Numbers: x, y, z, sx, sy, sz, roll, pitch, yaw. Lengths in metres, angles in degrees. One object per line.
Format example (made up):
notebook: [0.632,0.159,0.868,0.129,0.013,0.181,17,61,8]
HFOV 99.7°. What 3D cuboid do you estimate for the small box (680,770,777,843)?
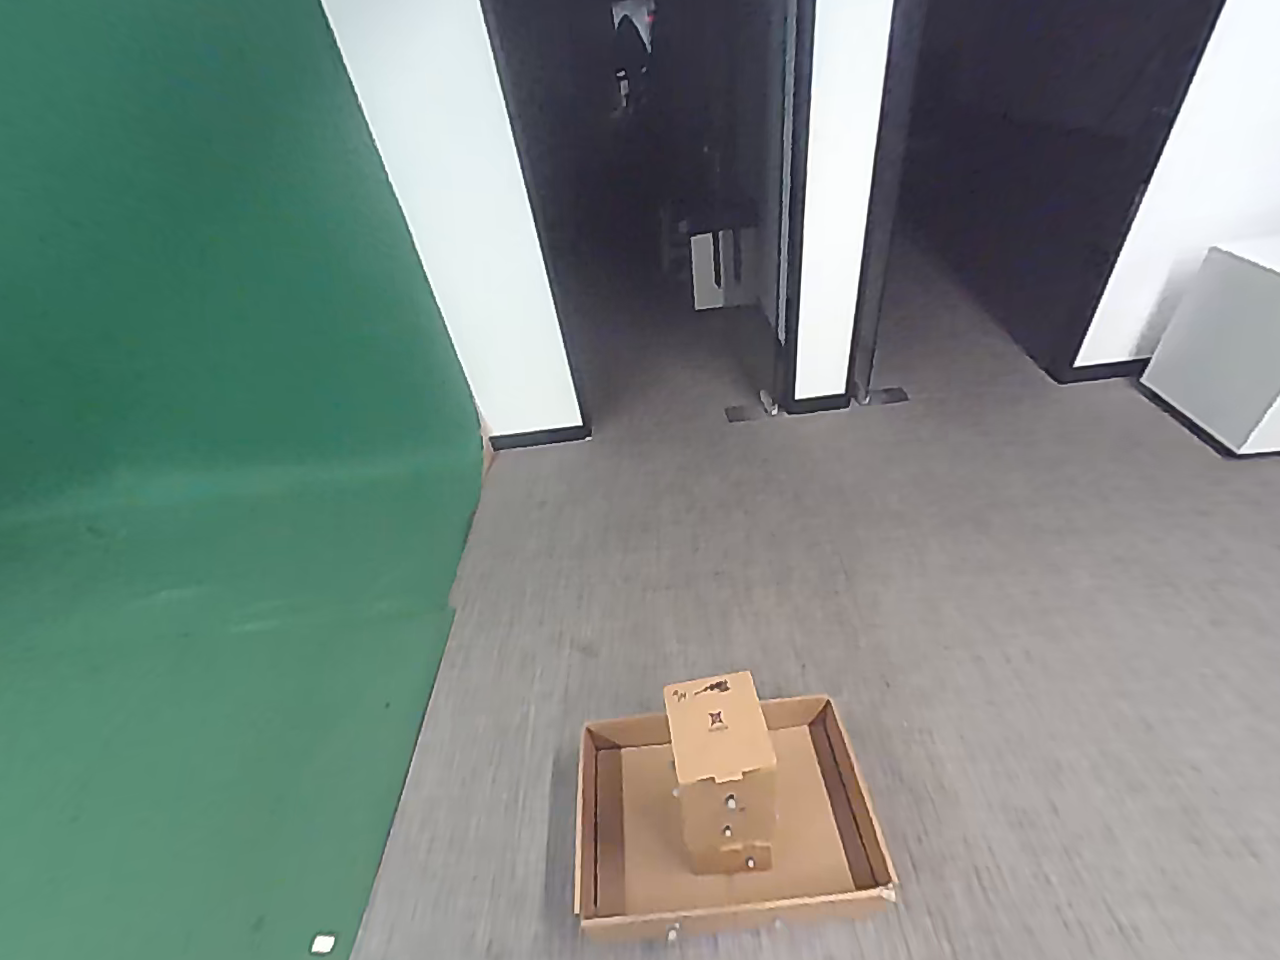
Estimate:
small box: [0.163,0.604,1.091,0.179,0.176,0.168,-9,40,-1]

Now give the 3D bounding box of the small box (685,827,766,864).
small box: [0.182,0.727,1.197,0.168,0.176,0.179,-7,38,3]

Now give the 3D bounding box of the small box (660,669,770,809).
small box: [0.137,0.478,0.989,0.168,0.176,0.179,-10,40,0]
